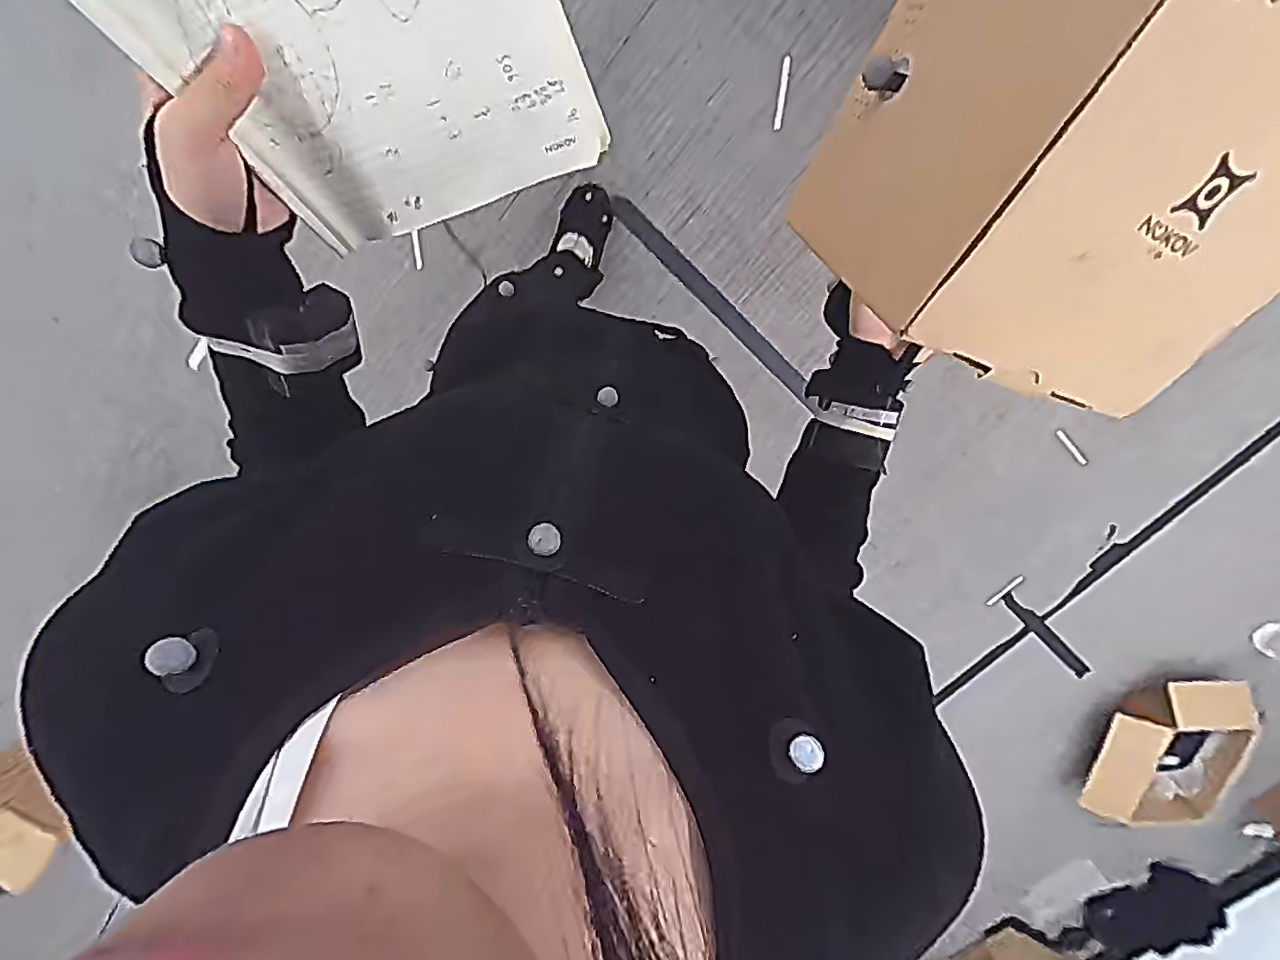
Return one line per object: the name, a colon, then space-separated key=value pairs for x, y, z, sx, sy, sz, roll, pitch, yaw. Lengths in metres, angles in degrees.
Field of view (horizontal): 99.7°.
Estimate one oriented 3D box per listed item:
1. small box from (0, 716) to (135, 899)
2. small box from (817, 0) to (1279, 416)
small box: x=-1.023 y=0.545 z=0.912 sx=0.168 sy=0.176 sz=0.179 roll=38 pitch=105 yaw=-17
small box: x=0.216 y=-0.166 z=0.276 sx=0.168 sy=0.176 sz=0.179 roll=12 pitch=130 yaw=-22
